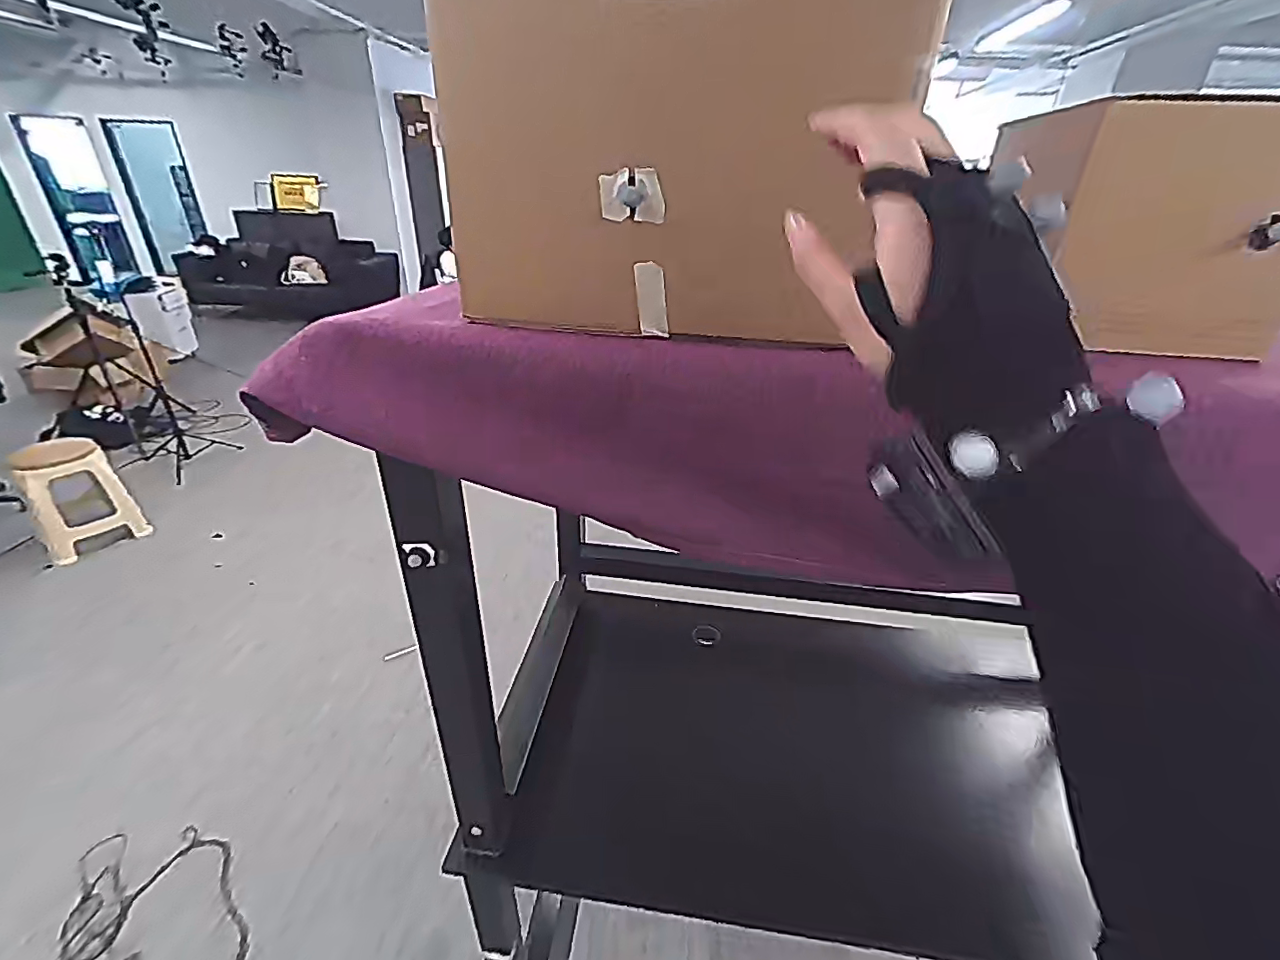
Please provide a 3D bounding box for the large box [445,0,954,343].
[{"bbox_3d":[0.049,-0.331,0.505,0.320,0.320,0.408,6,28,6],"label":"large box"}]

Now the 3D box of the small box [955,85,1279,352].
[{"bbox_3d":[0.401,-0.210,0.449,0.179,0.176,0.168,5,28,7],"label":"small box"}]
